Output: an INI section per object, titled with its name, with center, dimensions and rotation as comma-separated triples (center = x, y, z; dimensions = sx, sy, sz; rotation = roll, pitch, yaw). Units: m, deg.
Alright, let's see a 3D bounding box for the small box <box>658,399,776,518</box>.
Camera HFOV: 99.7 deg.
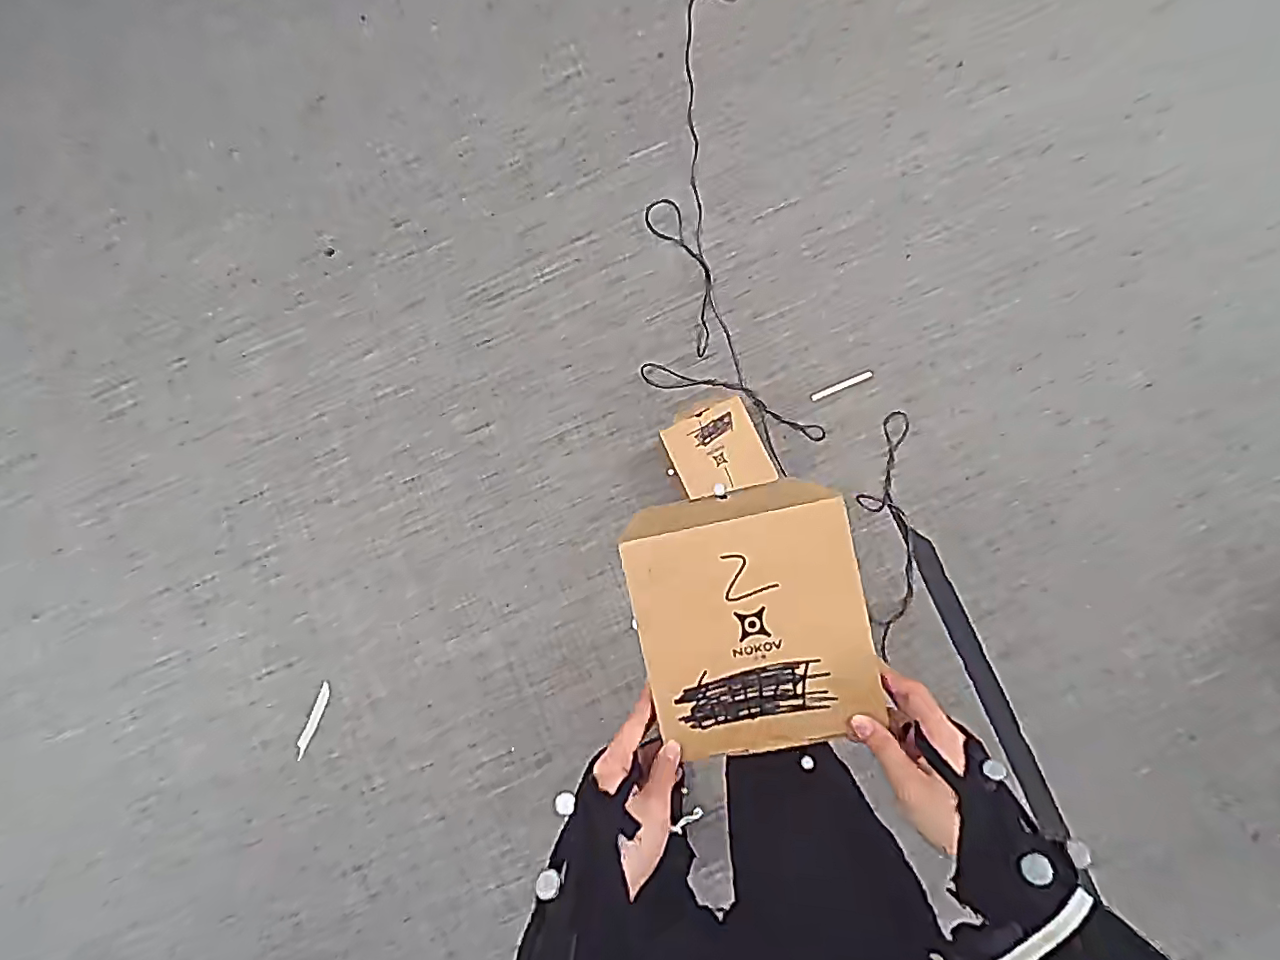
[small box]
center = 0.142, -0.033, 1.069
dimensions = 0.168, 0.176, 0.179
rotation = -25, 85, 0
